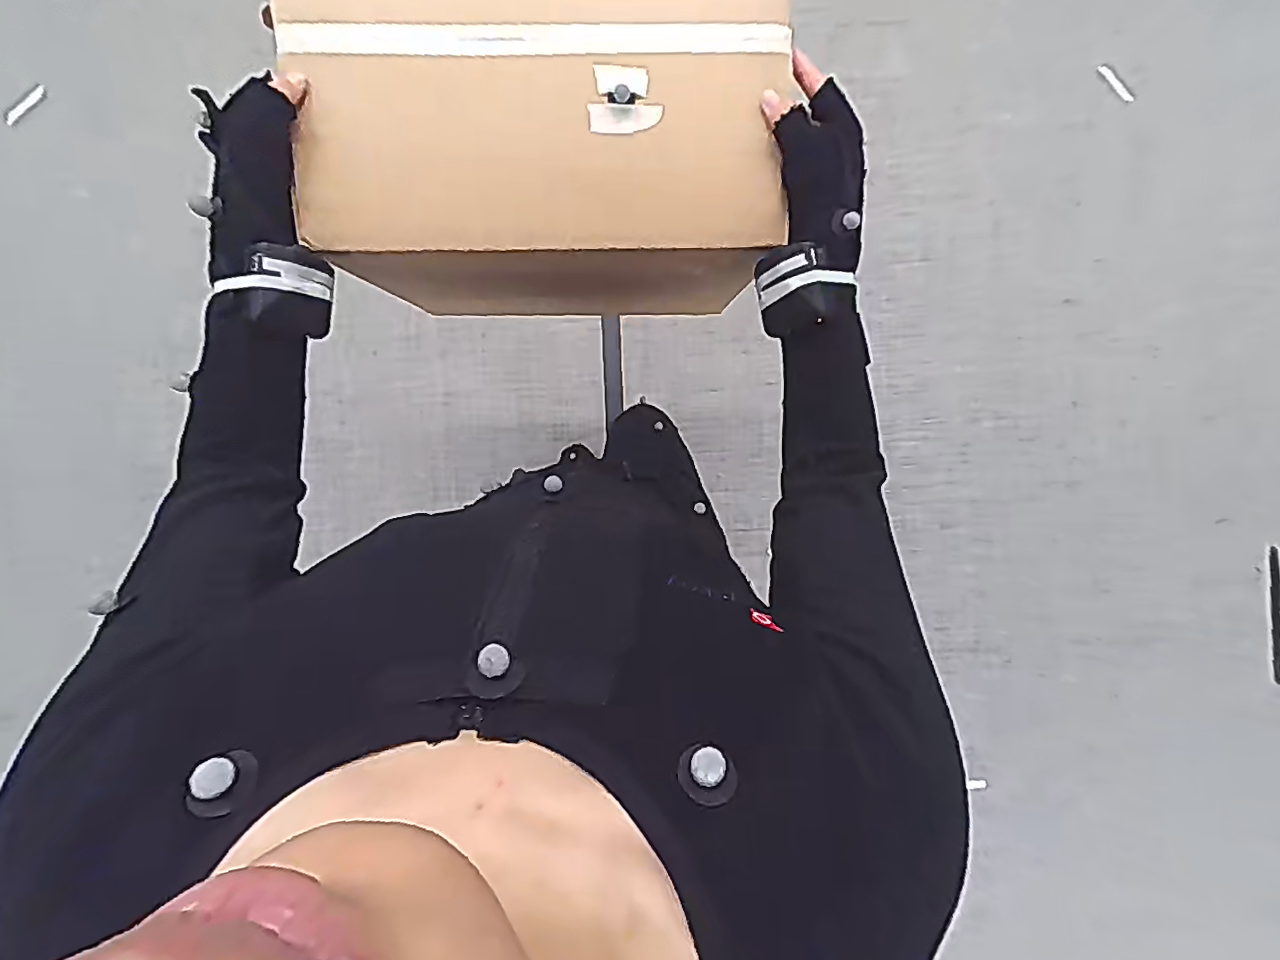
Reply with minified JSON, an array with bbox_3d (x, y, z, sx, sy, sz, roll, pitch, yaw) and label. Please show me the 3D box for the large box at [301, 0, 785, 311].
[{"bbox_3d":[-0.083,-0.376,0.596,0.408,0.320,0.320,-1,98,-2],"label":"large box"}]
